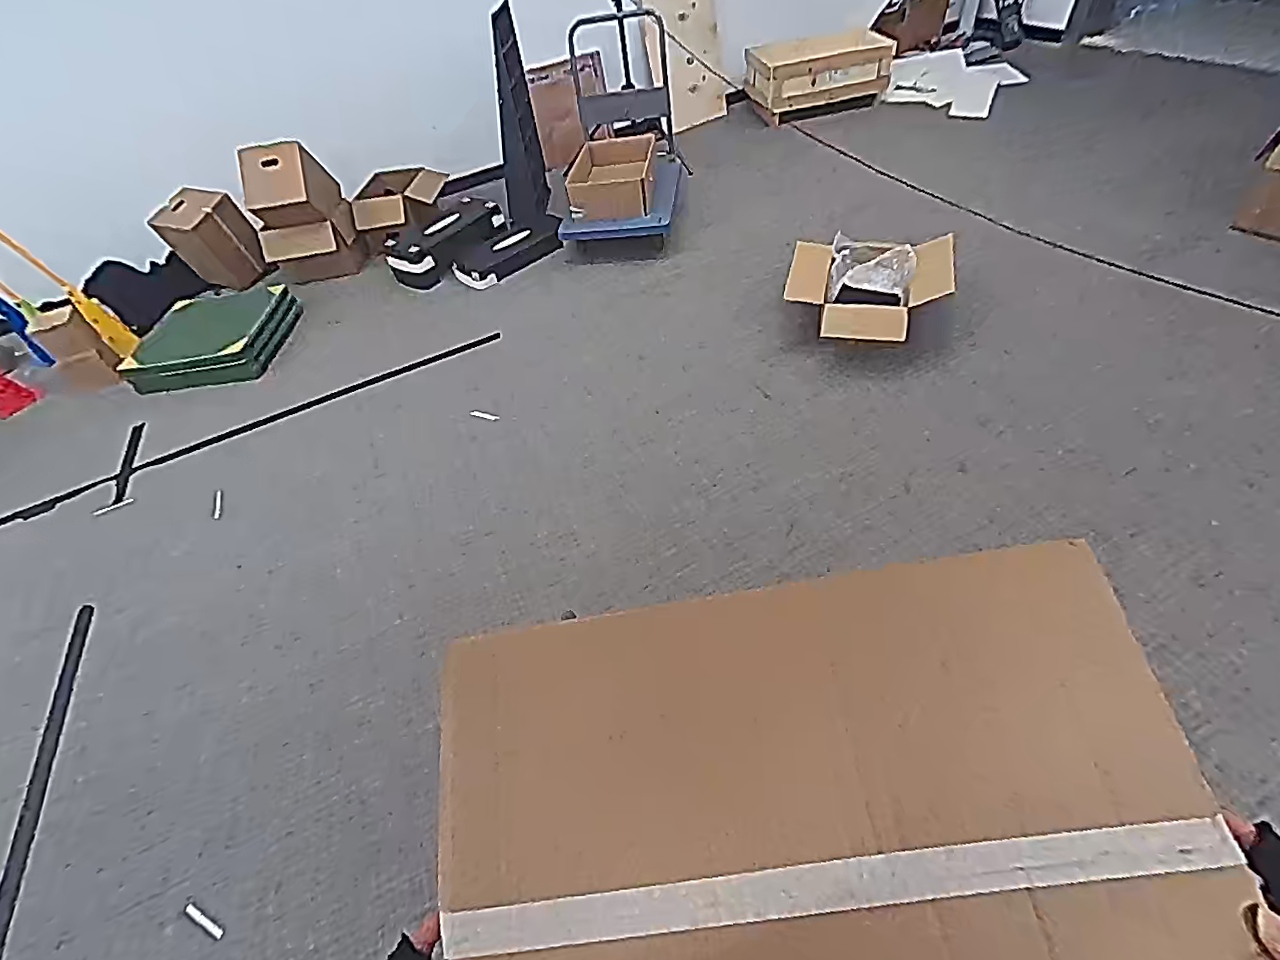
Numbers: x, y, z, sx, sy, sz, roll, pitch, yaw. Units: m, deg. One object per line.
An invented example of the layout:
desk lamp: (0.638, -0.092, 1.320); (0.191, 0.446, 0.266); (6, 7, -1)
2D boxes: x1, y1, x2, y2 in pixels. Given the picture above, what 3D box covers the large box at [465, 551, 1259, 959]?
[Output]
large box: (0.116, 0.275, 0.431); (0.408, 0.320, 0.320); (-10, 68, 5)
